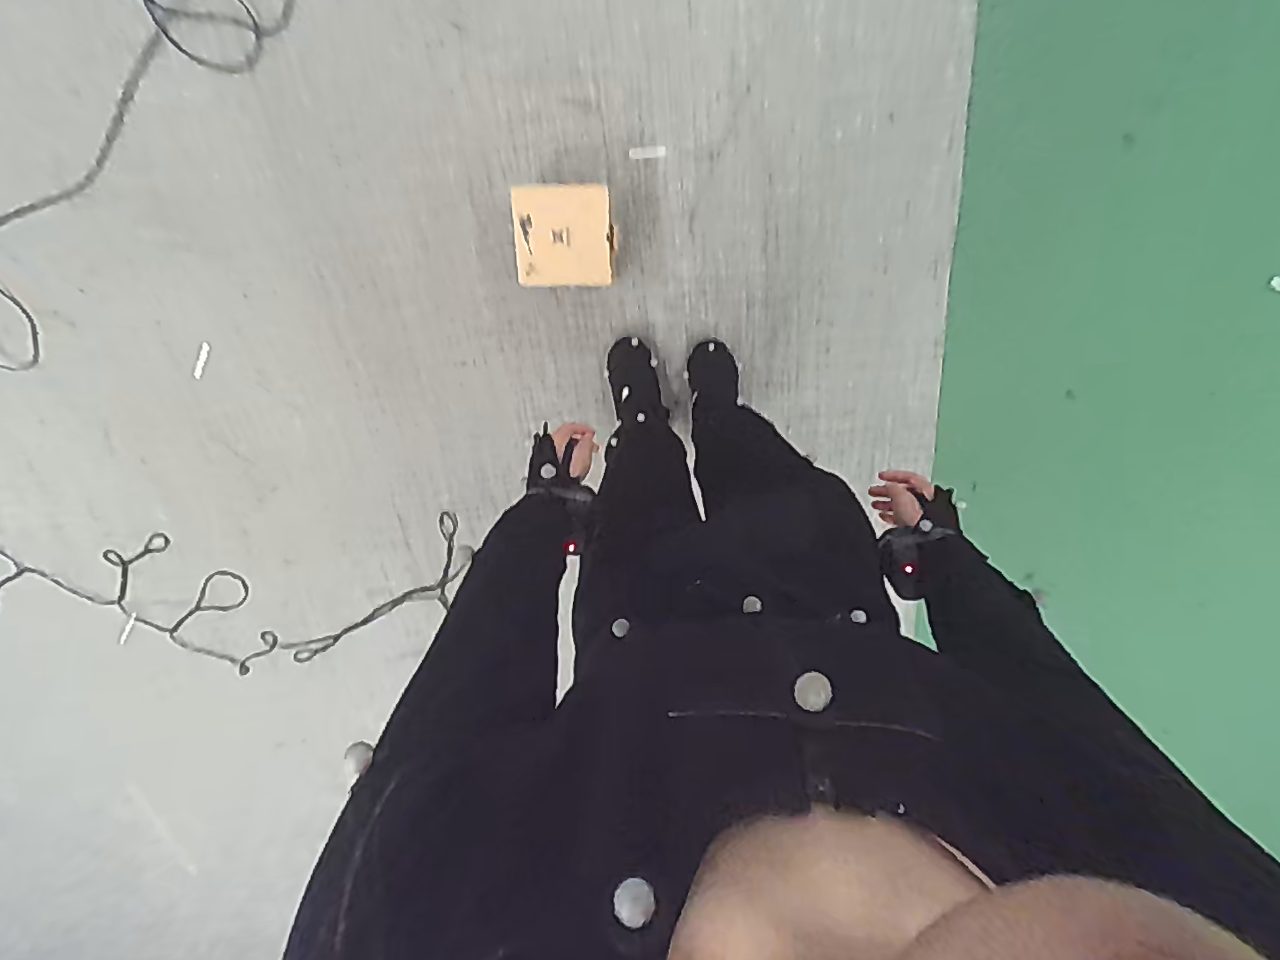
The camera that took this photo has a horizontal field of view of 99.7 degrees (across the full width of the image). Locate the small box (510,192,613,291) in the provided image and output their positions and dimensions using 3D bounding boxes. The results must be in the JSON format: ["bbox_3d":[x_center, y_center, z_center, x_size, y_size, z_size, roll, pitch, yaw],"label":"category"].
[{"bbox_3d":[-0.142,-0.462,1.051,0.179,0.176,0.168,-1,114,0],"label":"small box"}]
